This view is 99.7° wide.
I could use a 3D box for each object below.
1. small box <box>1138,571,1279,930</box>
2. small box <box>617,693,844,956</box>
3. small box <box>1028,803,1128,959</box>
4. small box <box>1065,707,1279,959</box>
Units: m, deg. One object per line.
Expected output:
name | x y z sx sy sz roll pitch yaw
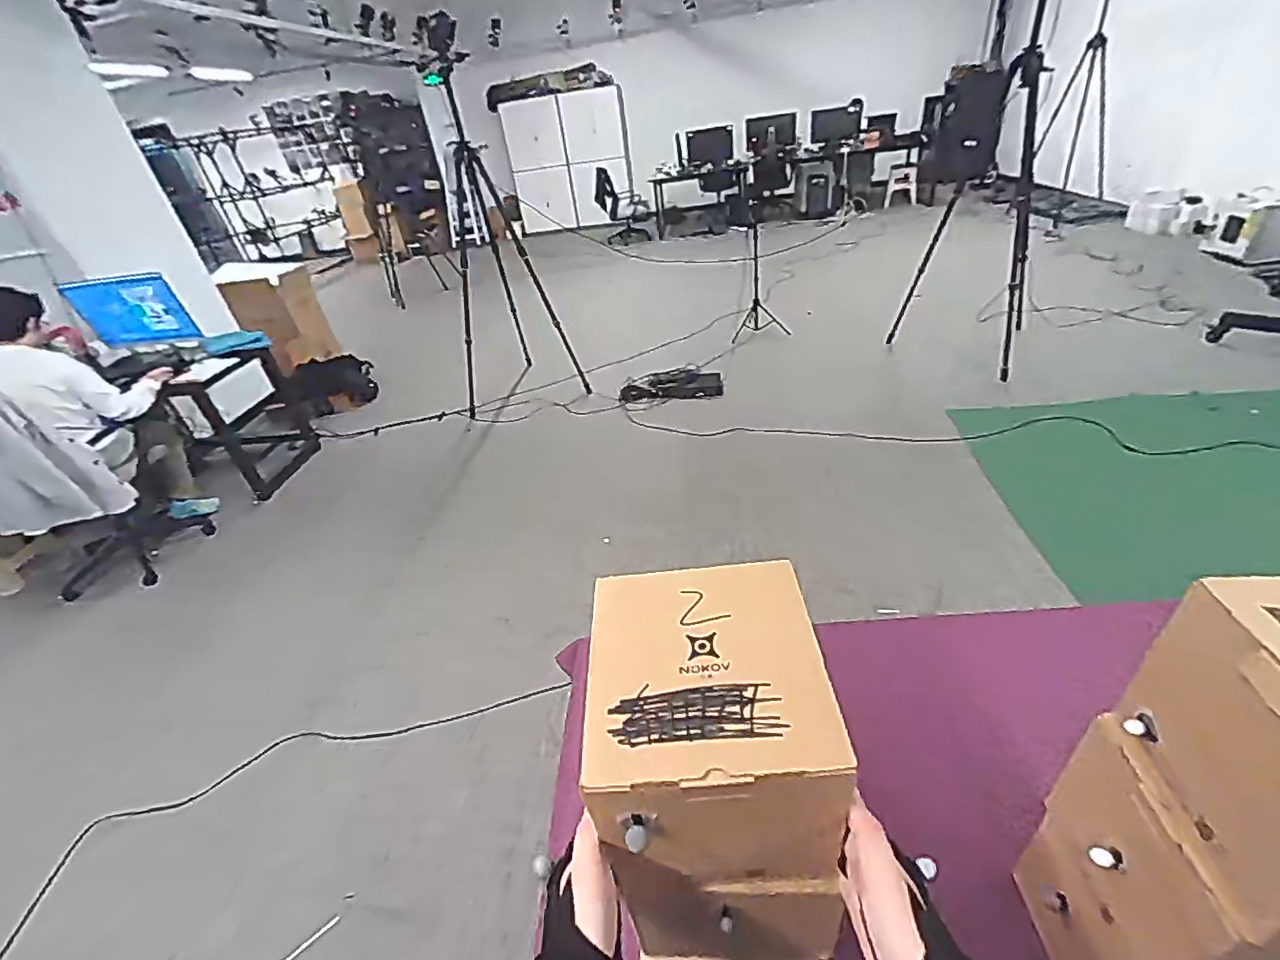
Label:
small box | 0.477 0.176 0.346 0.179 0.176 0.168 -1 35 10
small box | 0.083 0.327 0.518 0.179 0.176 0.168 -5 36 7
small box | 0.521 0.443 0.533 0.179 0.176 0.168 -5 35 7
small box | 0.491 0.310 0.442 0.179 0.176 0.168 -3 35 11
